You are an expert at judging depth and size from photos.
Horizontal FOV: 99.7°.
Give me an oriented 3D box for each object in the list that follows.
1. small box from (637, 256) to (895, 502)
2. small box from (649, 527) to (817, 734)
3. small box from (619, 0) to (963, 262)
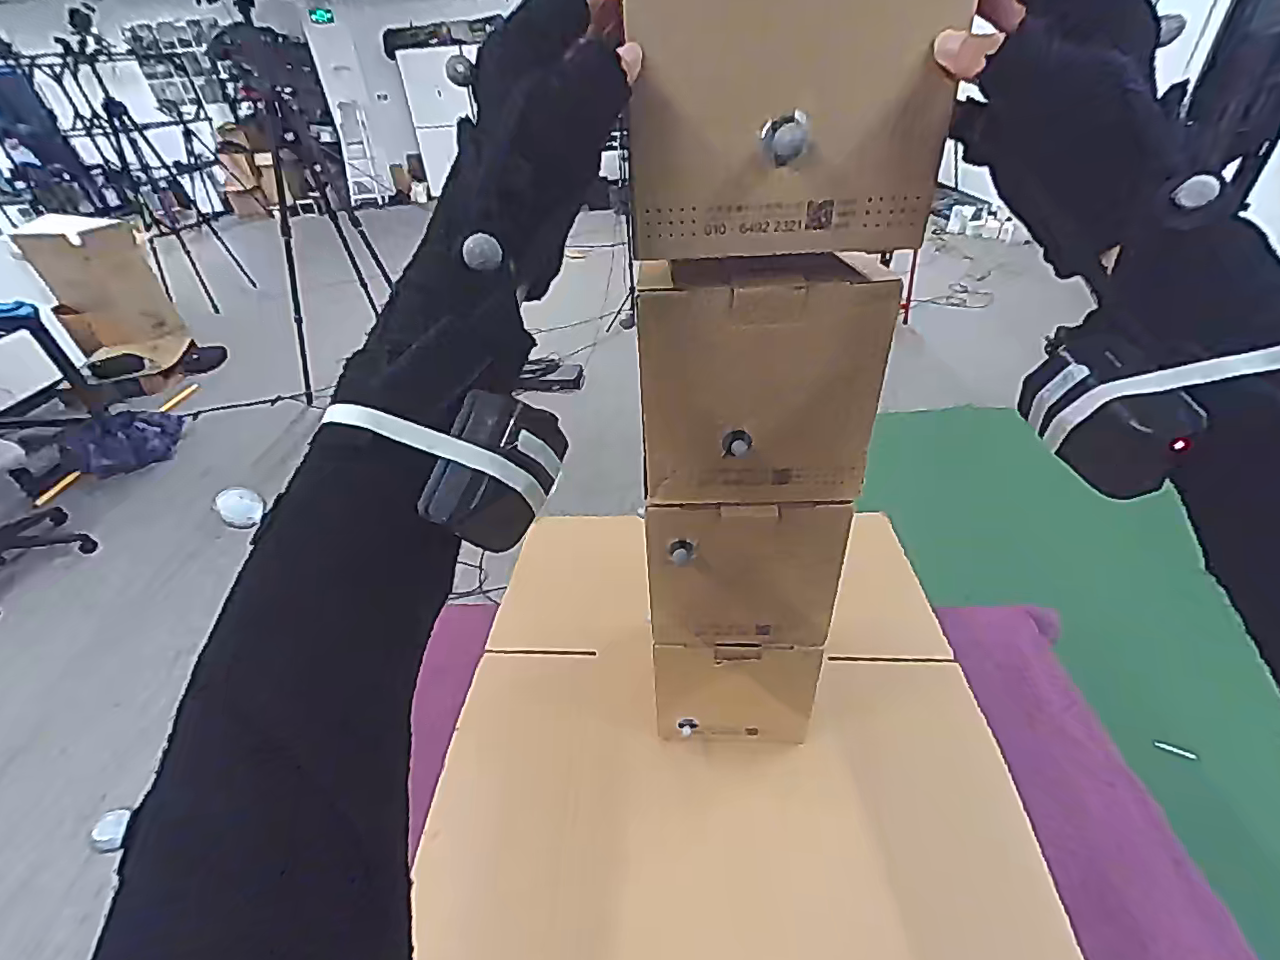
[{"bbox_3d":[0.084,-0.098,0.454,0.168,0.176,0.179,-1,34,3],"label":"small box"},{"bbox_3d":[0.102,0.175,0.635,0.168,0.176,0.179,0,34,5],"label":"small box"},{"bbox_3d":[0.073,-0.243,0.344,0.168,0.176,0.179,-2,33,2],"label":"small box"}]
